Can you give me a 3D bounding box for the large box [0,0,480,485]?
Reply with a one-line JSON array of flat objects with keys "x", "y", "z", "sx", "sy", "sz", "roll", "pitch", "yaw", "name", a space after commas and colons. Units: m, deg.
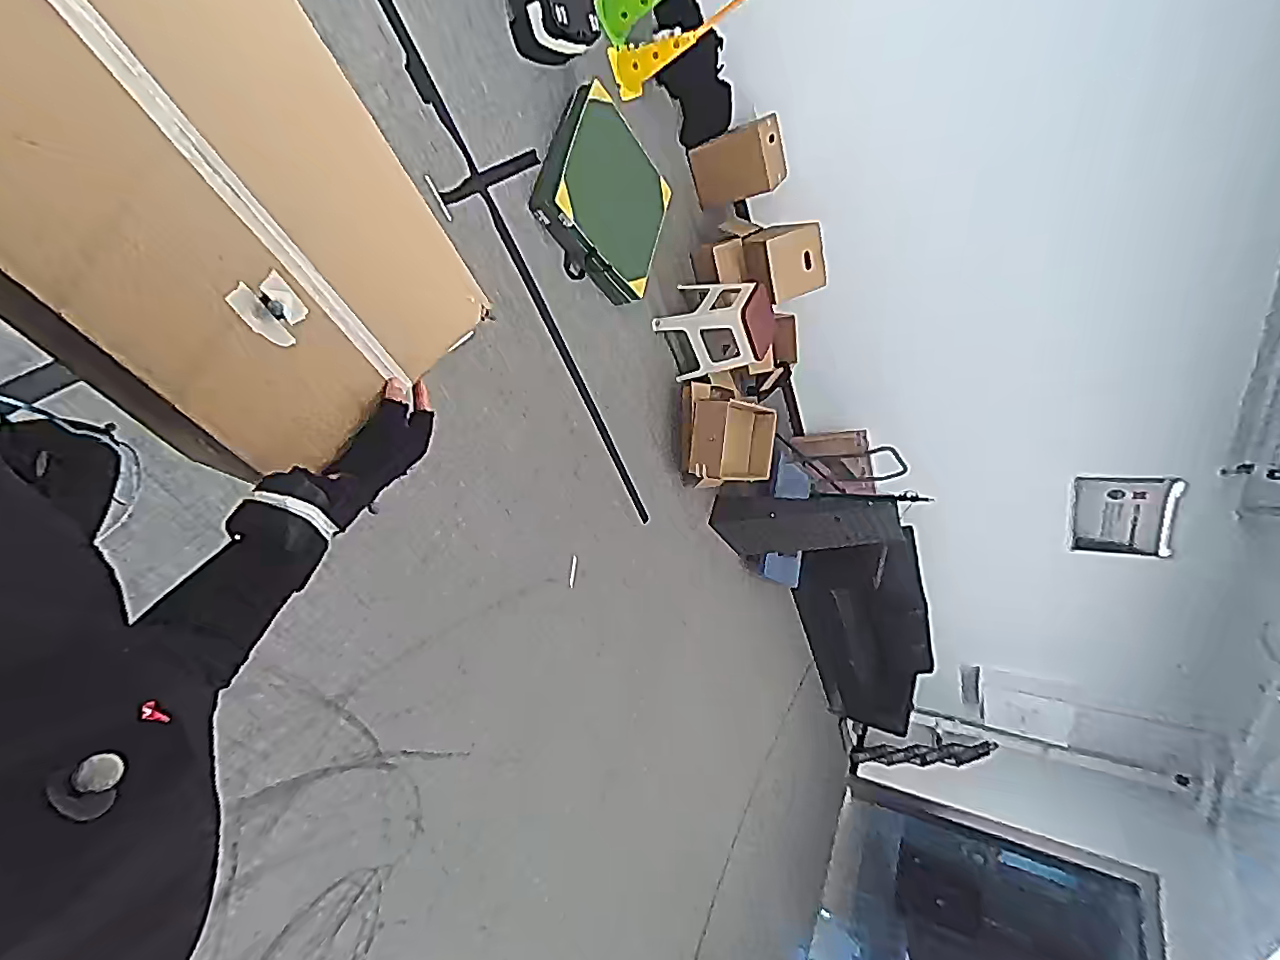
[{"x": -0.460, "y": -0.254, "z": 0.552, "sx": 0.320, "sy": 0.320, "sz": 0.408, "roll": -57, "pitch": 139, "yaw": -28, "name": "large box"}]
